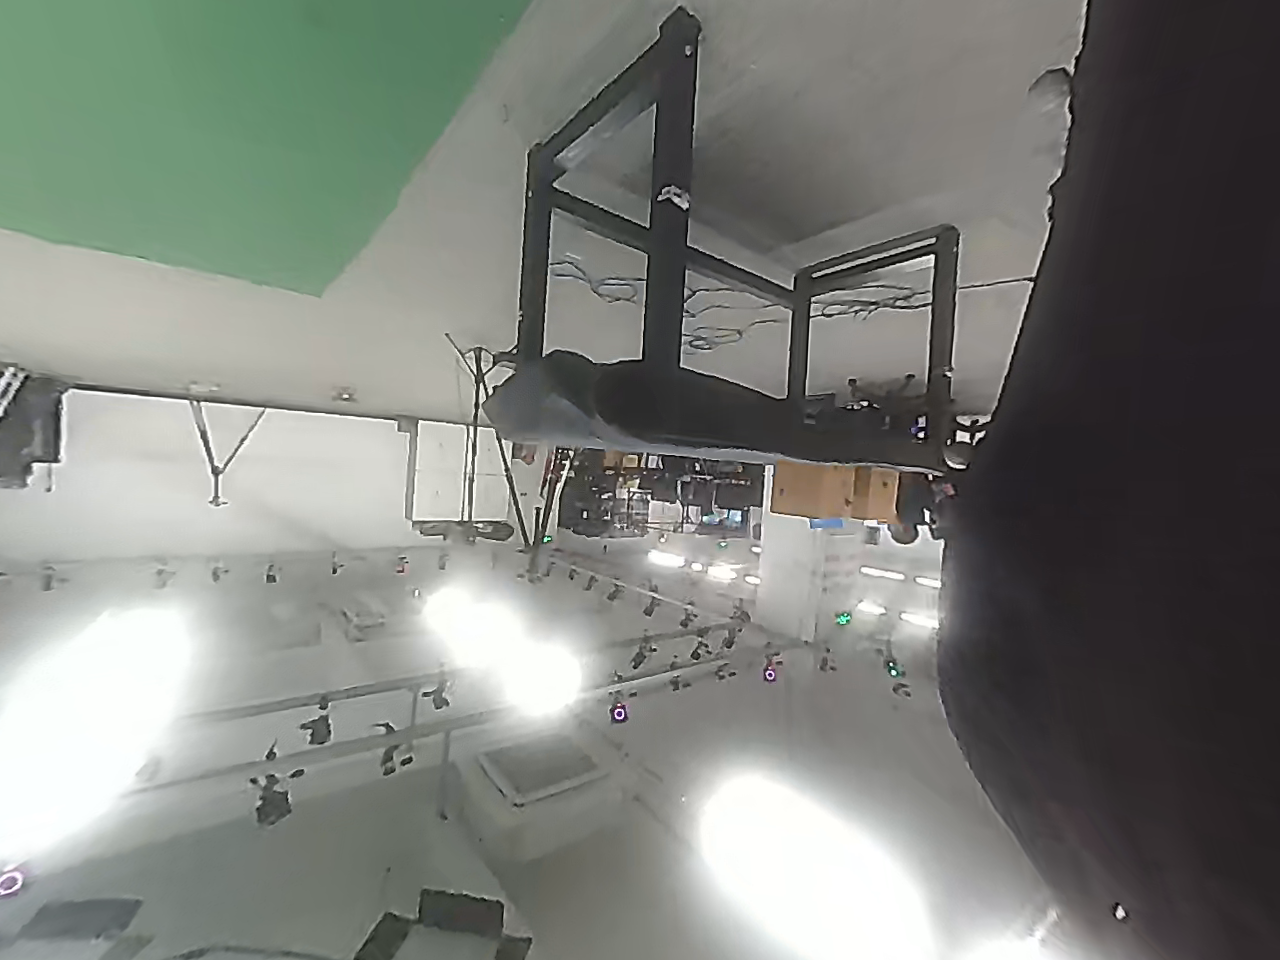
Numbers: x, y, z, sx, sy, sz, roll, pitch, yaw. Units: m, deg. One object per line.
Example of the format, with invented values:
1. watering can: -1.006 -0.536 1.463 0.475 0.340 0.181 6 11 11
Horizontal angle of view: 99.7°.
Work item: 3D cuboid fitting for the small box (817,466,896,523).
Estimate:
1. small box: 0.704 0.044 1.754 0.168 0.176 0.179 4 -179 -37
